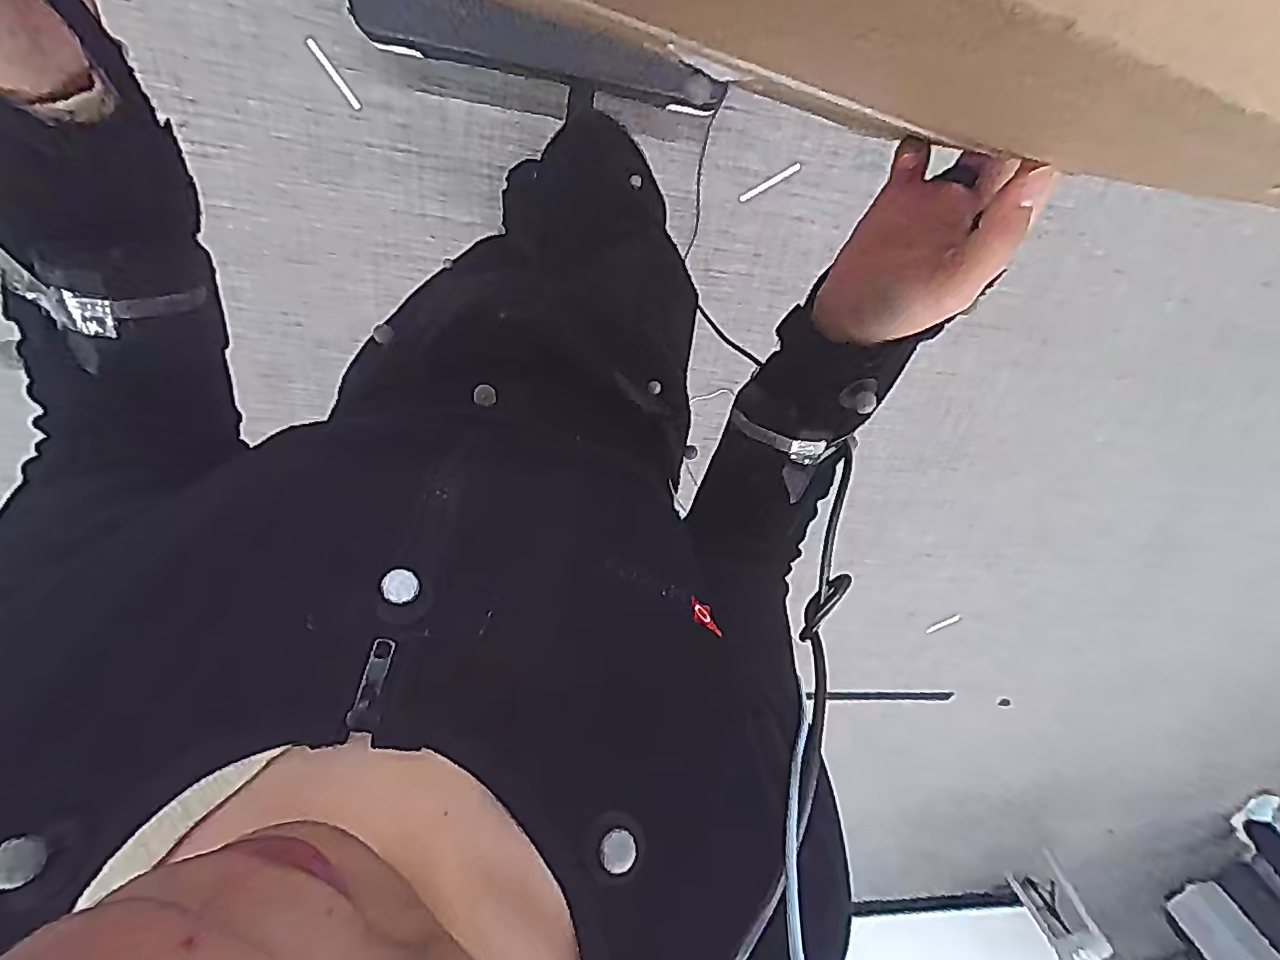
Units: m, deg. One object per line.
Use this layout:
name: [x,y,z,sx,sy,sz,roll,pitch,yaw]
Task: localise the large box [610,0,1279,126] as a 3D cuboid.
large box: [0.013,-0.302,0.089,0.408,0.320,0.320,7,126,-15]
